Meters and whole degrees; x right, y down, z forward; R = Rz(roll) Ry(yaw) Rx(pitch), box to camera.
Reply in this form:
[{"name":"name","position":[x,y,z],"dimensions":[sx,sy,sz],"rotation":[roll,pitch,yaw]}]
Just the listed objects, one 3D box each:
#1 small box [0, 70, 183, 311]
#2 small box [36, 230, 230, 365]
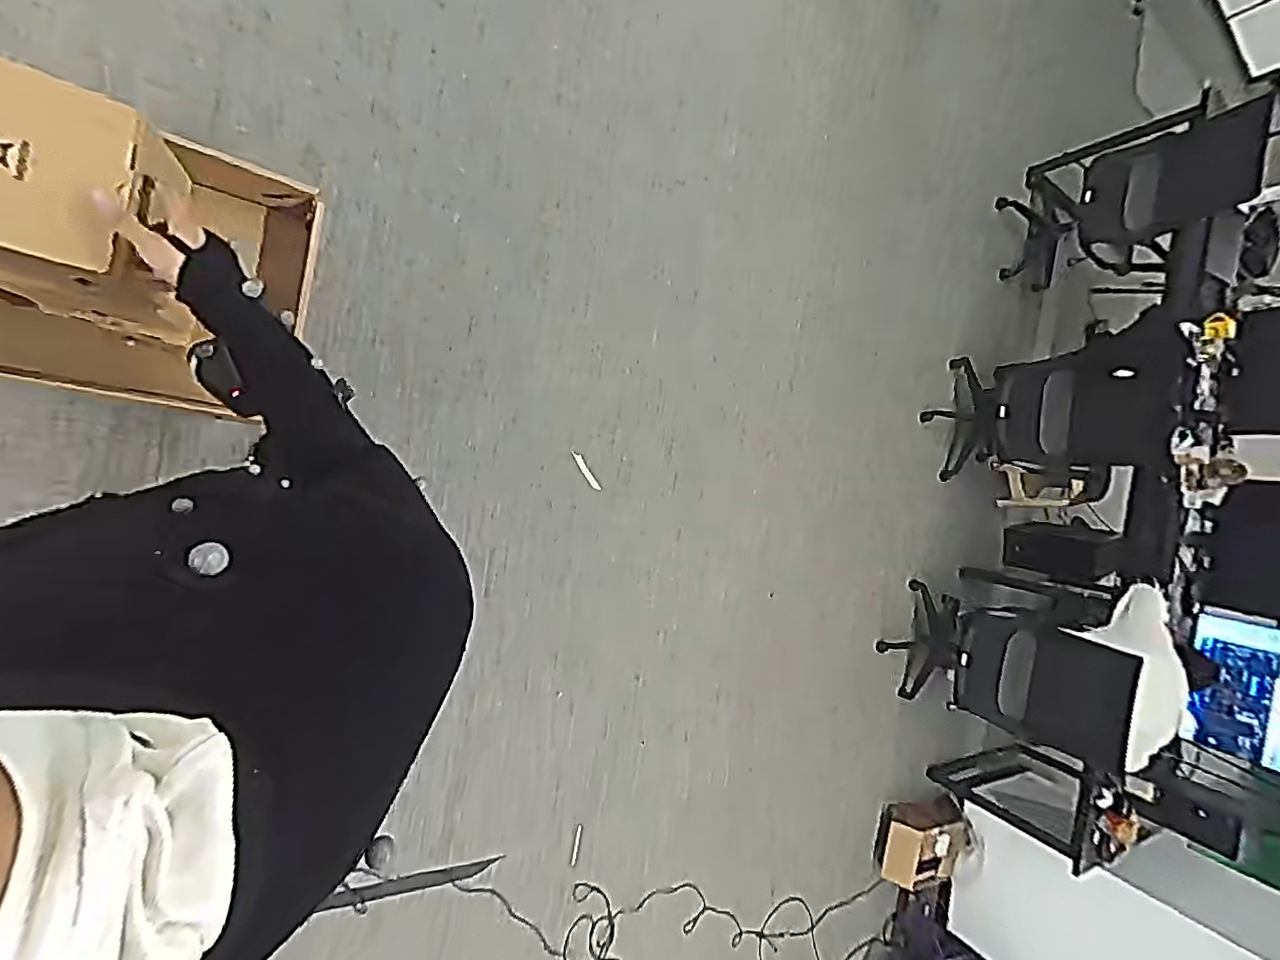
[{"name":"small box","position":[-0.607,-0.286,0.551],"dimensions":[0.179,0.176,0.168],"rotation":[11,88,-27]},{"name":"small box","position":[-0.764,-0.291,0.838],"dimensions":[0.168,0.176,0.179],"rotation":[12,88,-27]}]
